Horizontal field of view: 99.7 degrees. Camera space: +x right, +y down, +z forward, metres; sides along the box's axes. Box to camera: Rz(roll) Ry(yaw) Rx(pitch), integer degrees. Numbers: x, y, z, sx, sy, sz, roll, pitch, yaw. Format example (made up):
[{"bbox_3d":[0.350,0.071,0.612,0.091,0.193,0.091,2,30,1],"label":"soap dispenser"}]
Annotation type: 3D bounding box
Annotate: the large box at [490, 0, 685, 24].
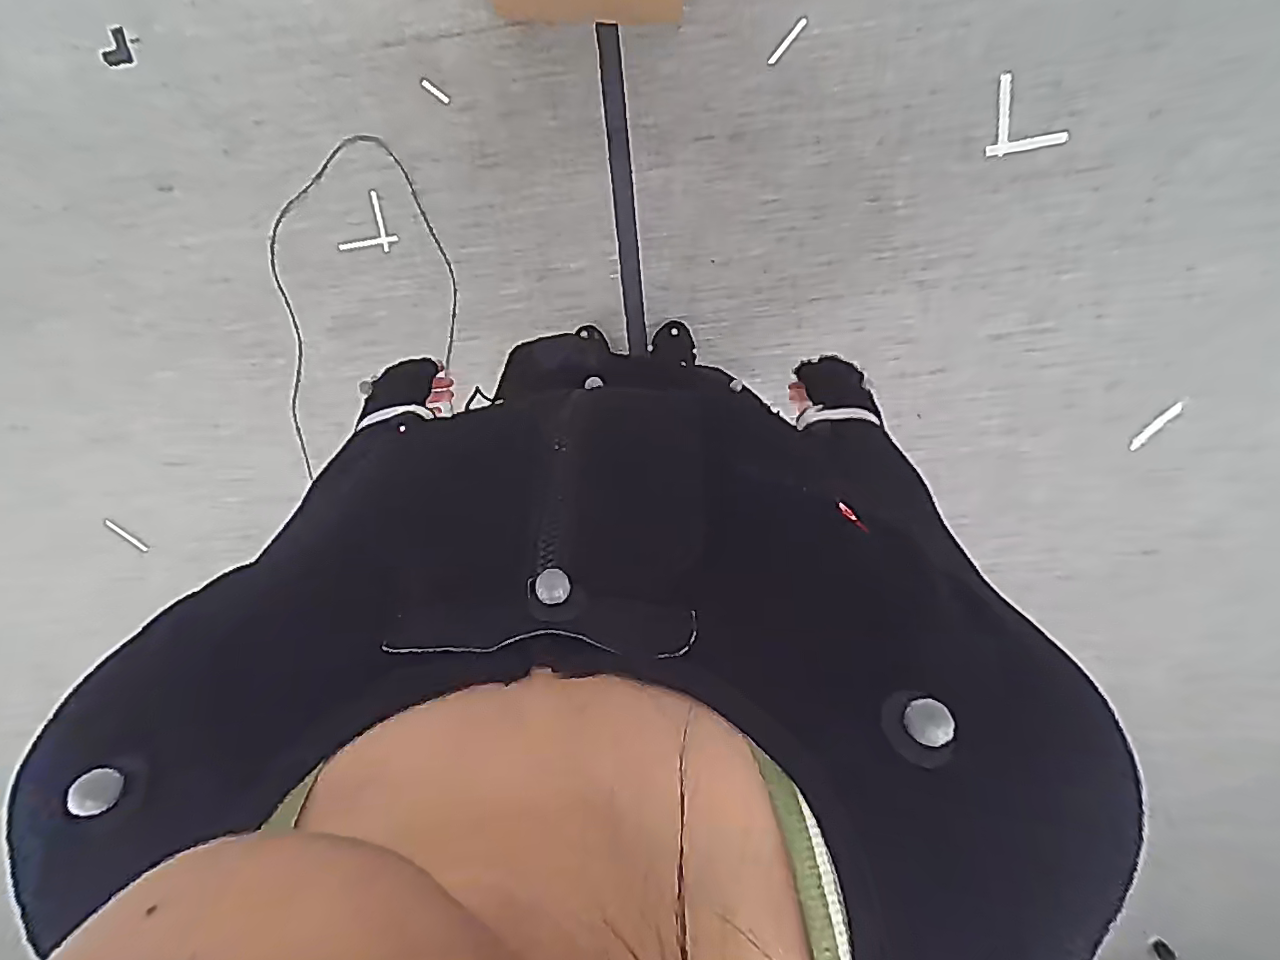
[{"bbox_3d":[-0.109,-1.095,0.997,0.408,0.320,0.320,1,109,1],"label":"large box"}]
